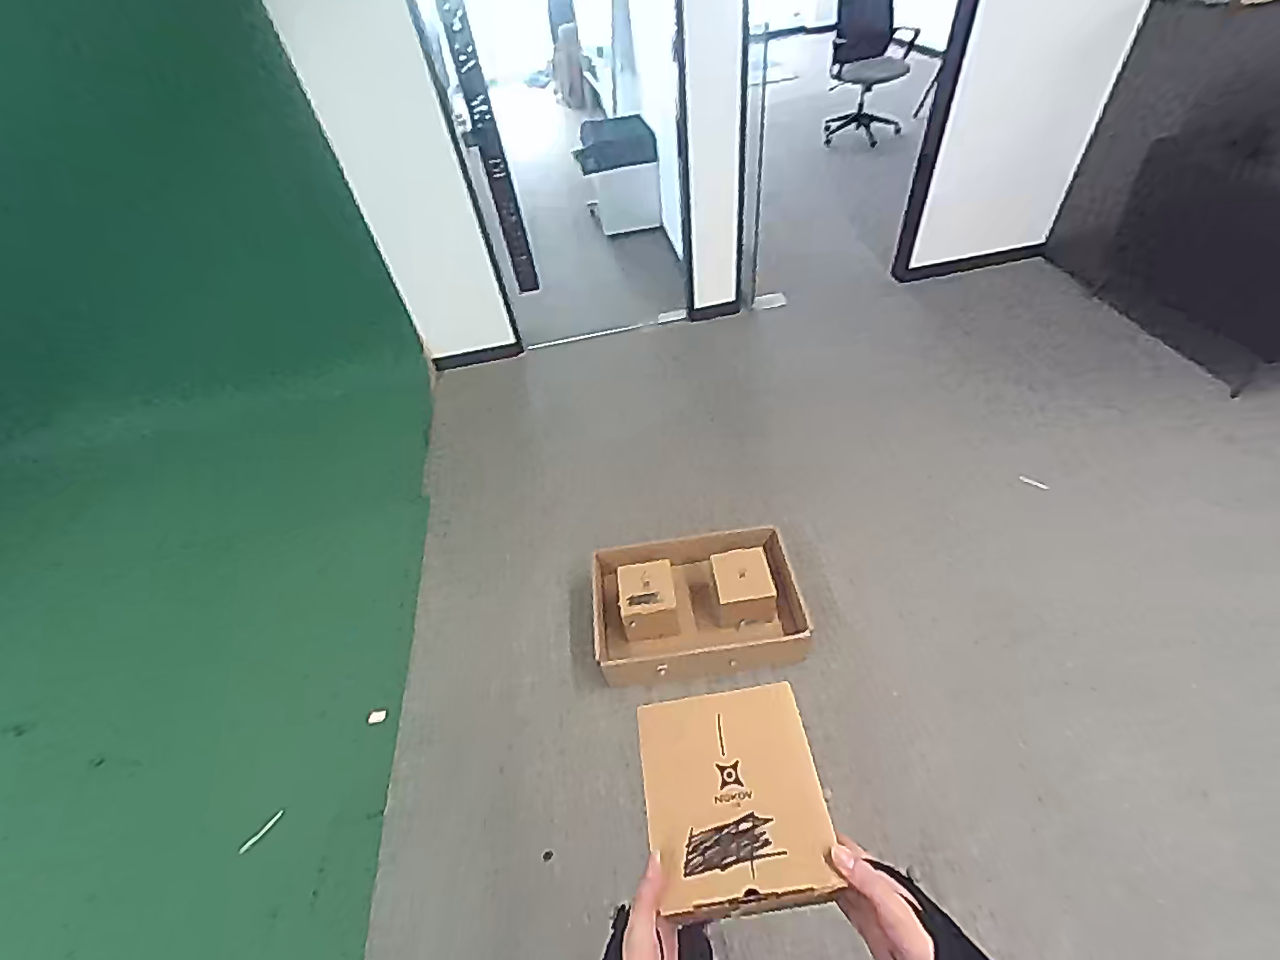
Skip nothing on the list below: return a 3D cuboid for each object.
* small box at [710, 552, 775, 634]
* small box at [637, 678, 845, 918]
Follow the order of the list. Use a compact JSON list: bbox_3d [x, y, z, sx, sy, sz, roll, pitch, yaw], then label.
[{"bbox_3d":[0.309,0.350,1.669,0.168,0.176,0.179,-9,46,1],"label":"small box"},{"bbox_3d":[0.096,0.334,0.562,0.168,0.176,0.179,-10,46,2],"label":"small box"}]
